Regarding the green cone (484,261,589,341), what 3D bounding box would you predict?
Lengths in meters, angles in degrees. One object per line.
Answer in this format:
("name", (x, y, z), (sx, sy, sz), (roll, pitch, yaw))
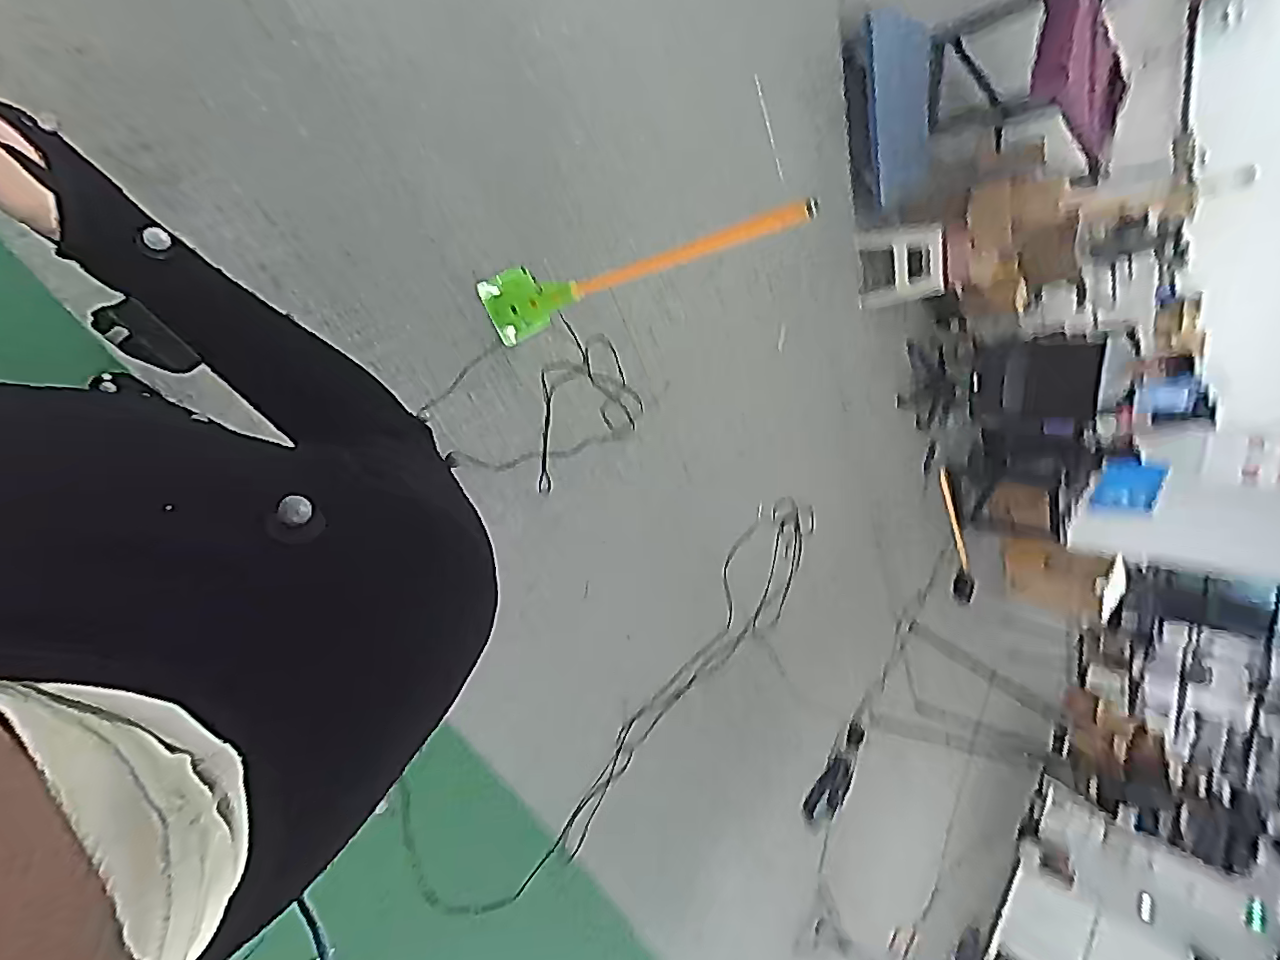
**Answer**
("green cone", (-0.275, -0.551, 1.613), (0.200, 0.368, 0.202), (-41, 123, -28))
